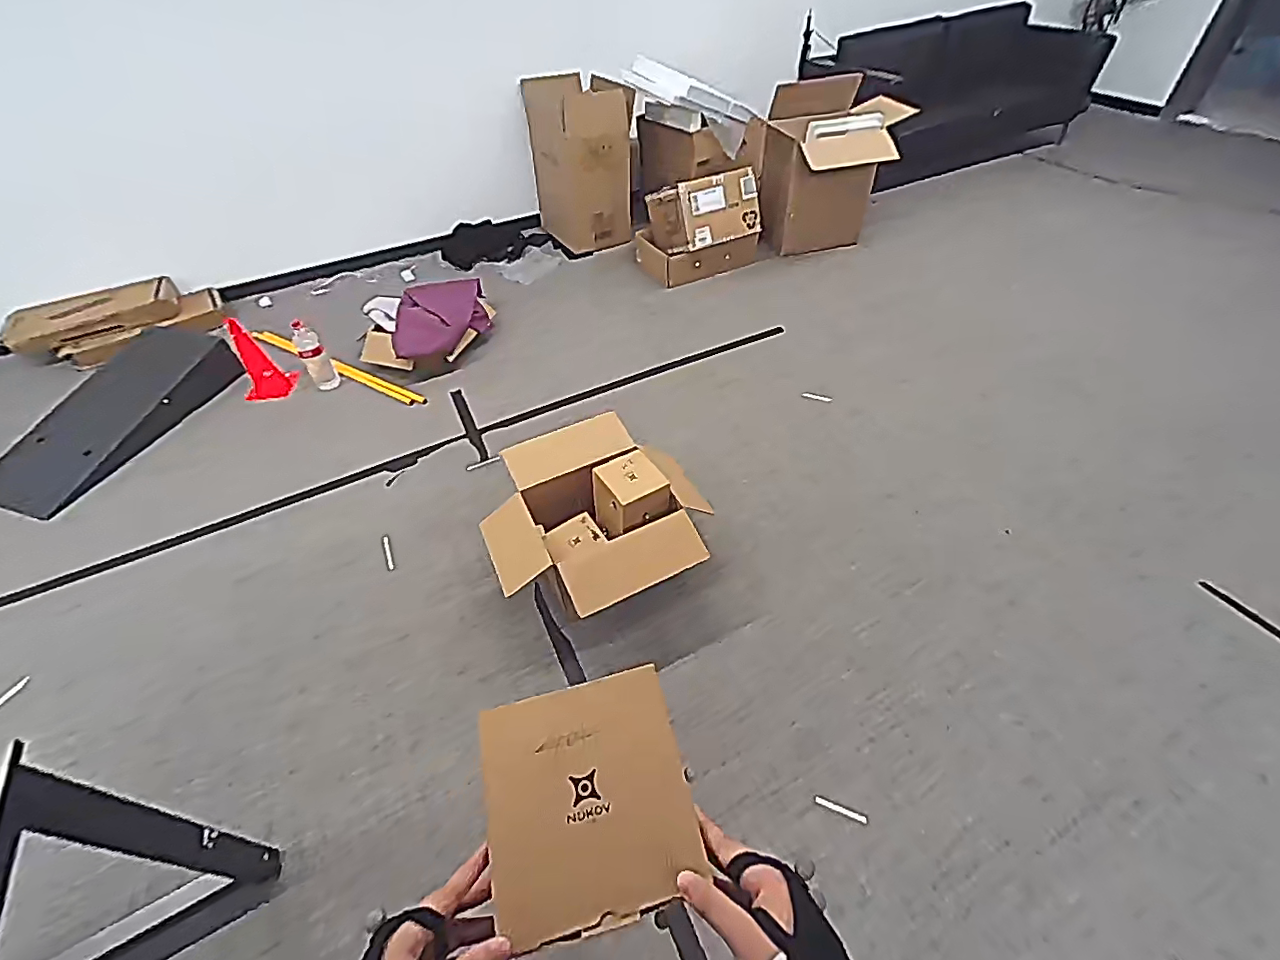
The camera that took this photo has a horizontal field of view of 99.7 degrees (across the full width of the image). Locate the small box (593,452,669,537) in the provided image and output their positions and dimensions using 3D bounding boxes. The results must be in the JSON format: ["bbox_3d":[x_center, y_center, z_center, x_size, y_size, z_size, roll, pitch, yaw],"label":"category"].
[{"bbox_3d":[-0.027,0.050,1.638,0.168,0.176,0.179,-24,50,-23],"label":"small box"}]

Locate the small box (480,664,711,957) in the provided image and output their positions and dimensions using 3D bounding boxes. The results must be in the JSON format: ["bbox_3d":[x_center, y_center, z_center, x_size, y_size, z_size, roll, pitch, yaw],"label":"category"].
[{"bbox_3d":[-0.040,0.303,0.509,0.168,0.176,0.179,-14,53,-8],"label":"small box"}]
